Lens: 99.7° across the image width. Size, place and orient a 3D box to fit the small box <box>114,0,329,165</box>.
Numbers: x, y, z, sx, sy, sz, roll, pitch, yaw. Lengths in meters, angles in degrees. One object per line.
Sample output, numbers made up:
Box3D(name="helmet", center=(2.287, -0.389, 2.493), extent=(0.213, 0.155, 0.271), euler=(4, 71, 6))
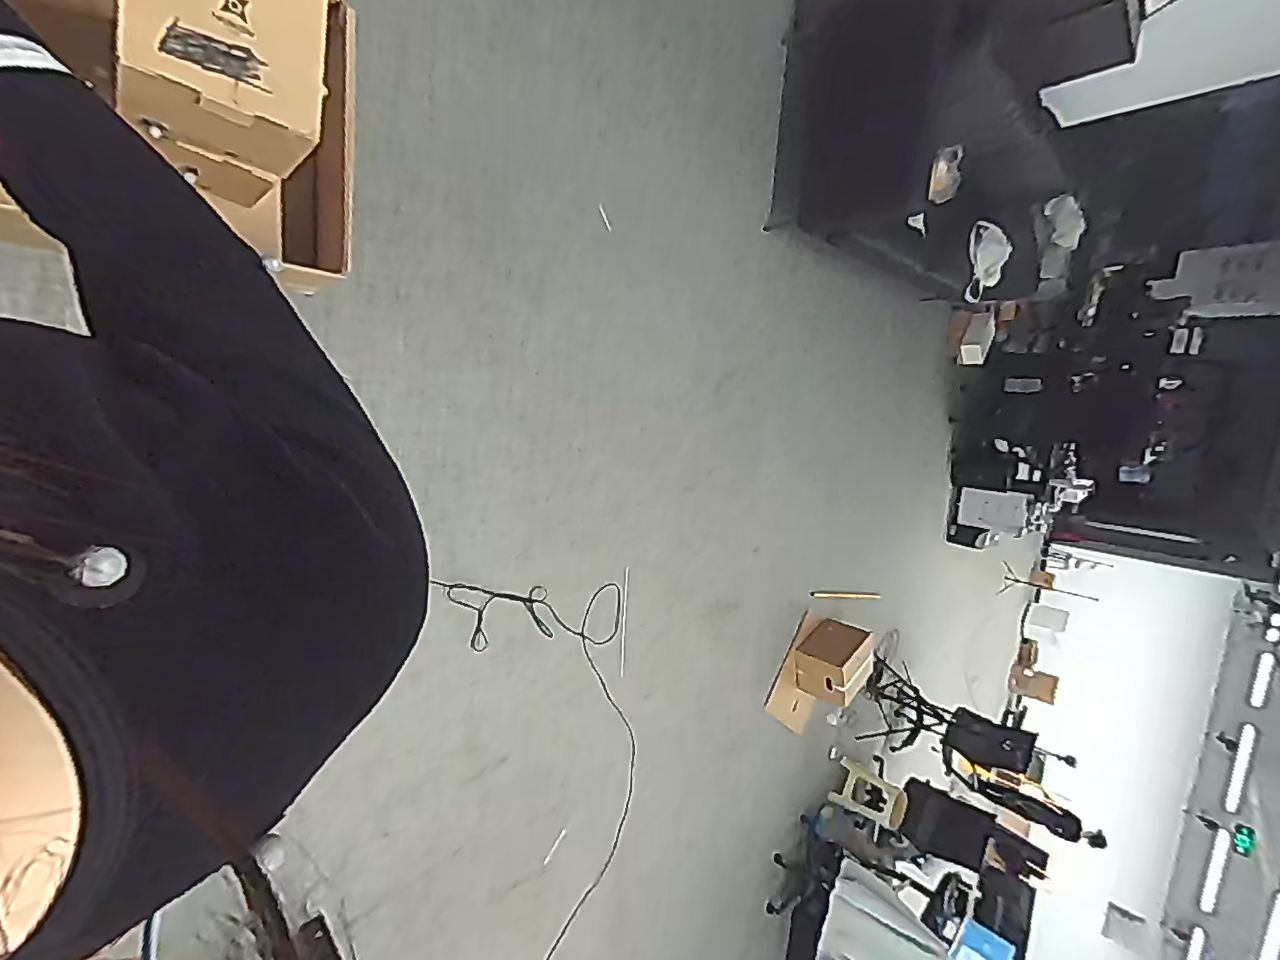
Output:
Box3D(name="small box", center=(-0.459, -0.482, 0.594), extent=(0.168, 0.176, 0.179), euler=(2, 97, -45))
